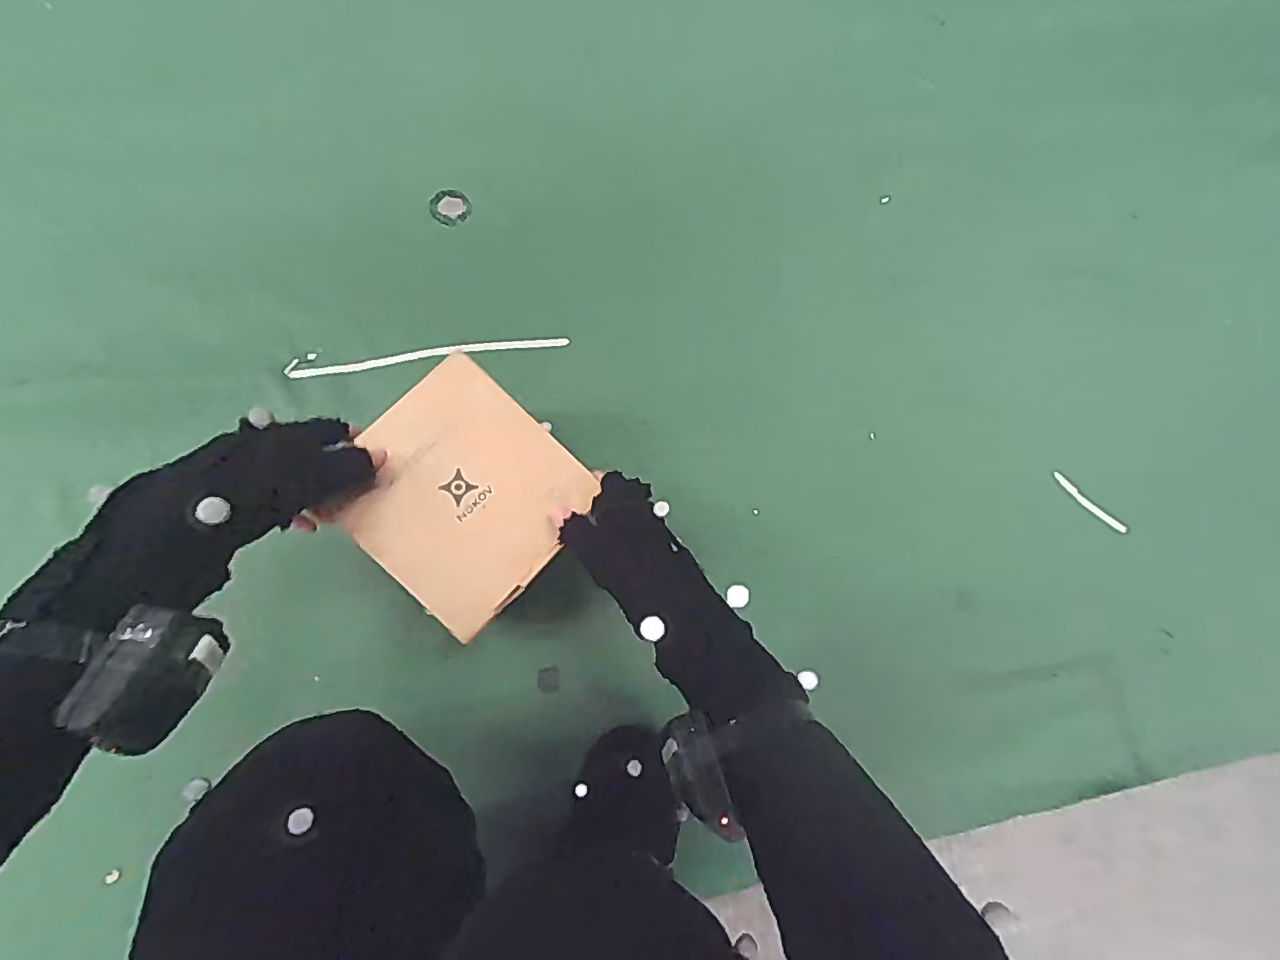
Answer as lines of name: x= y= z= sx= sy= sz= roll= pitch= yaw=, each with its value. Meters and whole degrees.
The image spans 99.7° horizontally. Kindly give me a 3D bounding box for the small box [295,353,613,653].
small box: x=-0.149 y=0.024 z=0.488 sx=0.179 sy=0.176 sz=0.168 roll=42 pitch=76 yaw=-2
